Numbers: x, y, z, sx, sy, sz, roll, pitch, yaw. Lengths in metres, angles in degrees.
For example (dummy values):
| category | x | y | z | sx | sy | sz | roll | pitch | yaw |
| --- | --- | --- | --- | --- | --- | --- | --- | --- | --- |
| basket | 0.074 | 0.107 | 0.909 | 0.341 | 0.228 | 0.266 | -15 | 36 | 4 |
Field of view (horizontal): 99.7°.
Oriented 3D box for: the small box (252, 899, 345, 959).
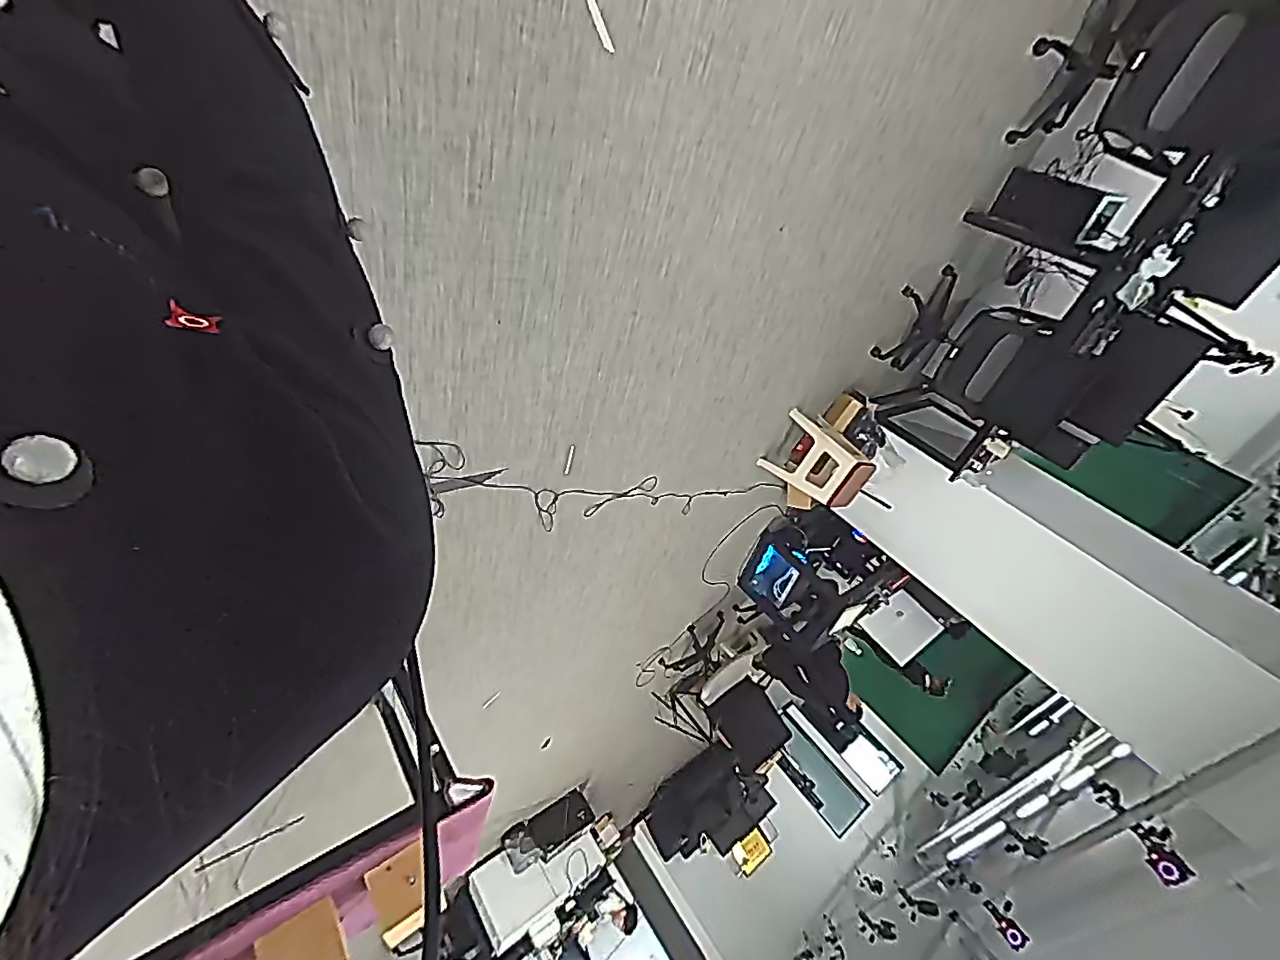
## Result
| category | x | y | z | sx | sy | sz | roll | pitch | yaw |
| --- | --- | --- | --- | --- | --- | --- | --- | --- | --- |
| small box | -0.882 | 1.247 | 1.402 | 0.179 | 0.176 | 0.168 | -18 | 139 | -35 |

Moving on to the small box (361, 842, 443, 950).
| category | x | y | z | sx | sy | sz | roll | pitch | yaw |
| --- | --- | --- | --- | --- | --- | --- | --- | --- | --- |
| small box | -0.687 | 1.192 | 1.560 | 0.168 | 0.176 | 0.179 | -20 | 140 | -33 |
